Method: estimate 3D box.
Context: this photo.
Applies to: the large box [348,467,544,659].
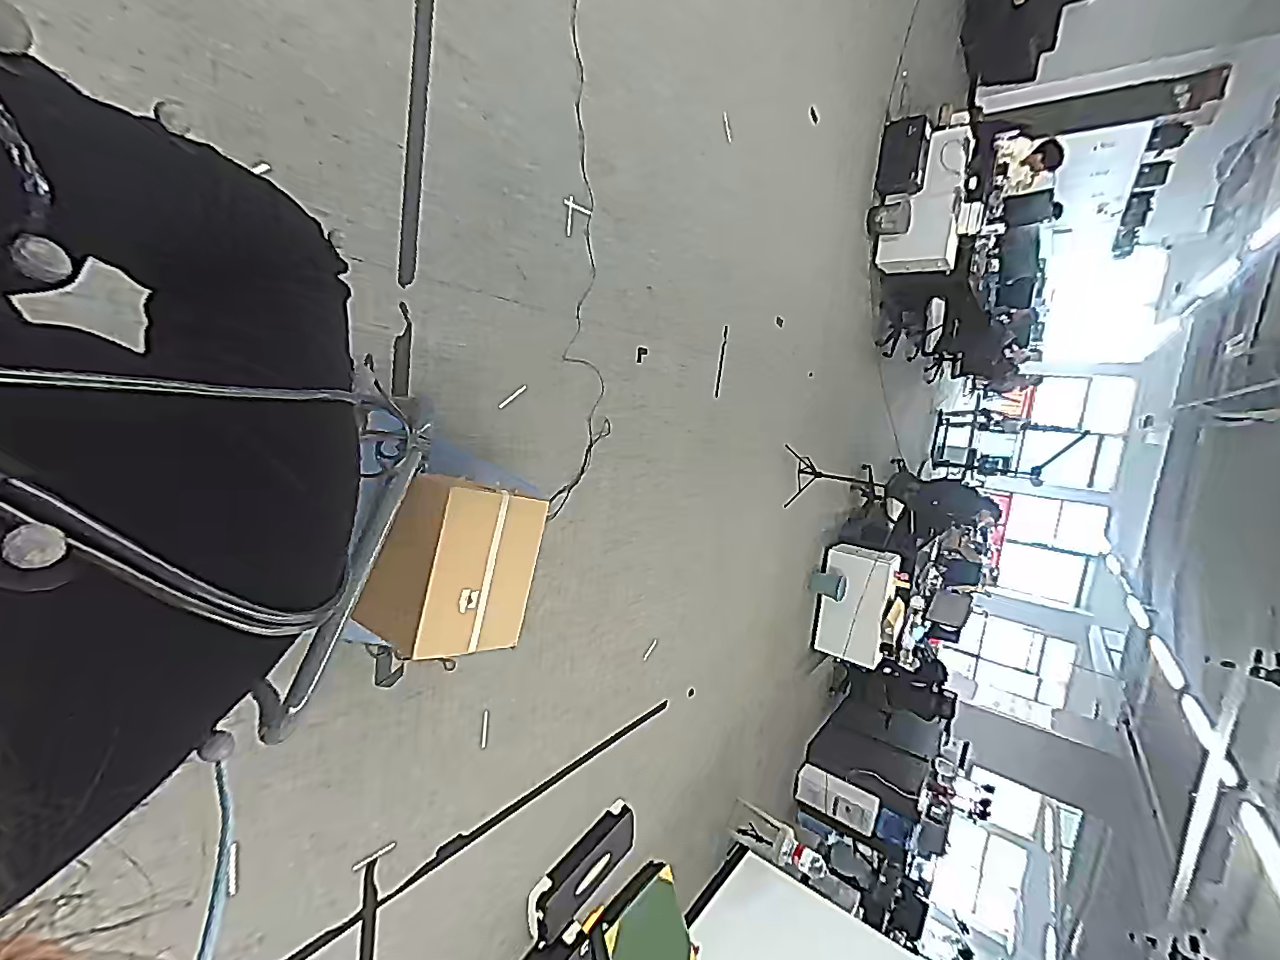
[{"bbox_3d":[-0.502,0.200,1.410,0.320,0.320,0.408,14,89,-53],"label":"large box"}]
